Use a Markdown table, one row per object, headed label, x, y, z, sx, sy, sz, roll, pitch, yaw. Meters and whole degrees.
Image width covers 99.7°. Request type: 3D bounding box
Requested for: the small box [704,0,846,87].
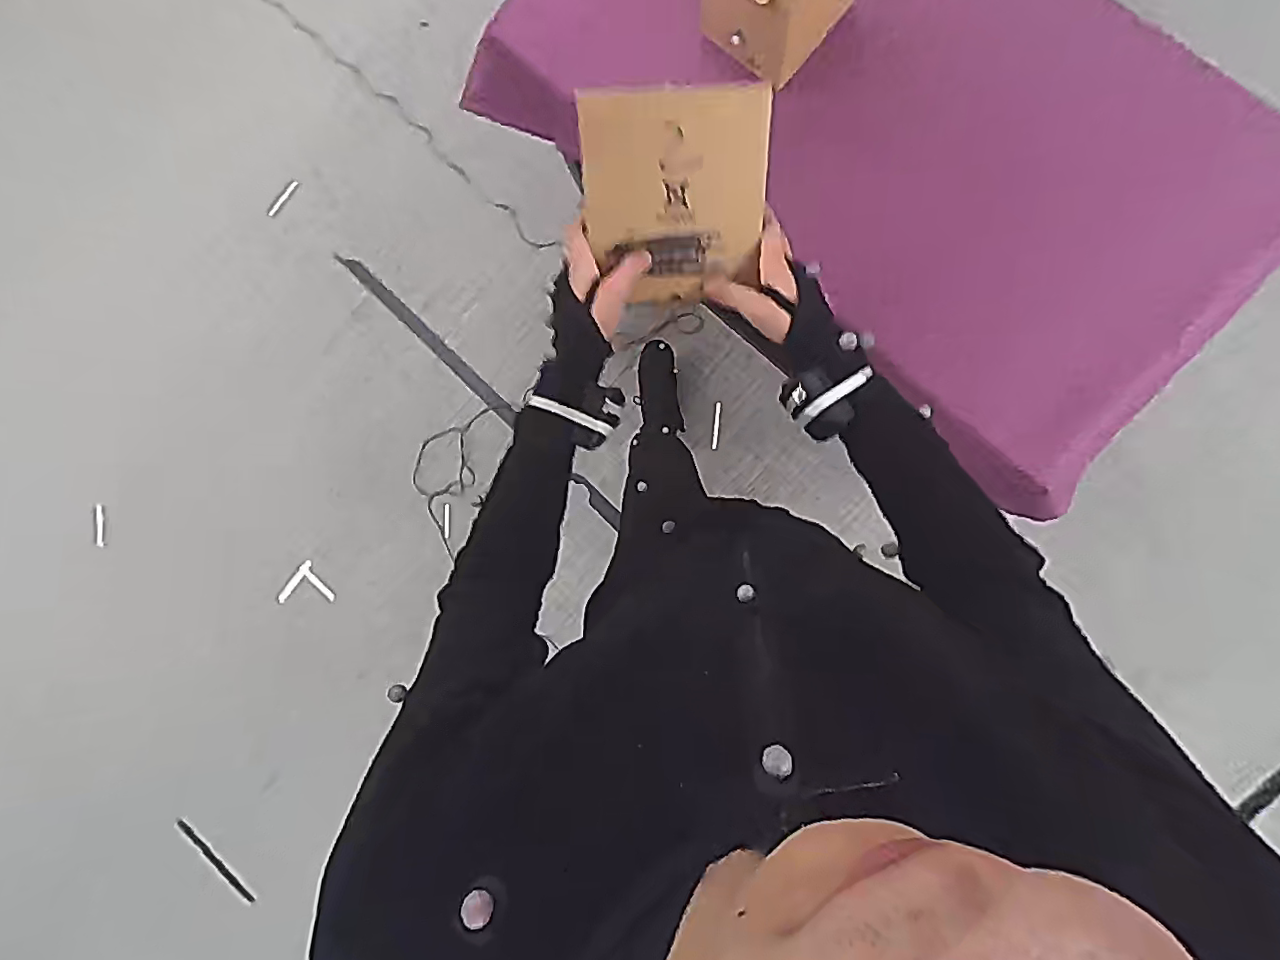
| label | x | y | z | sx | sy | sz | roll | pitch | yaw |
| --- | --- | --- | --- | --- | --- | --- | --- | --- | --- |
| small box | 0.204 | -0.741 | 0.787 | 0.168 | 0.176 | 0.179 | 42 | 96 | 6 |
